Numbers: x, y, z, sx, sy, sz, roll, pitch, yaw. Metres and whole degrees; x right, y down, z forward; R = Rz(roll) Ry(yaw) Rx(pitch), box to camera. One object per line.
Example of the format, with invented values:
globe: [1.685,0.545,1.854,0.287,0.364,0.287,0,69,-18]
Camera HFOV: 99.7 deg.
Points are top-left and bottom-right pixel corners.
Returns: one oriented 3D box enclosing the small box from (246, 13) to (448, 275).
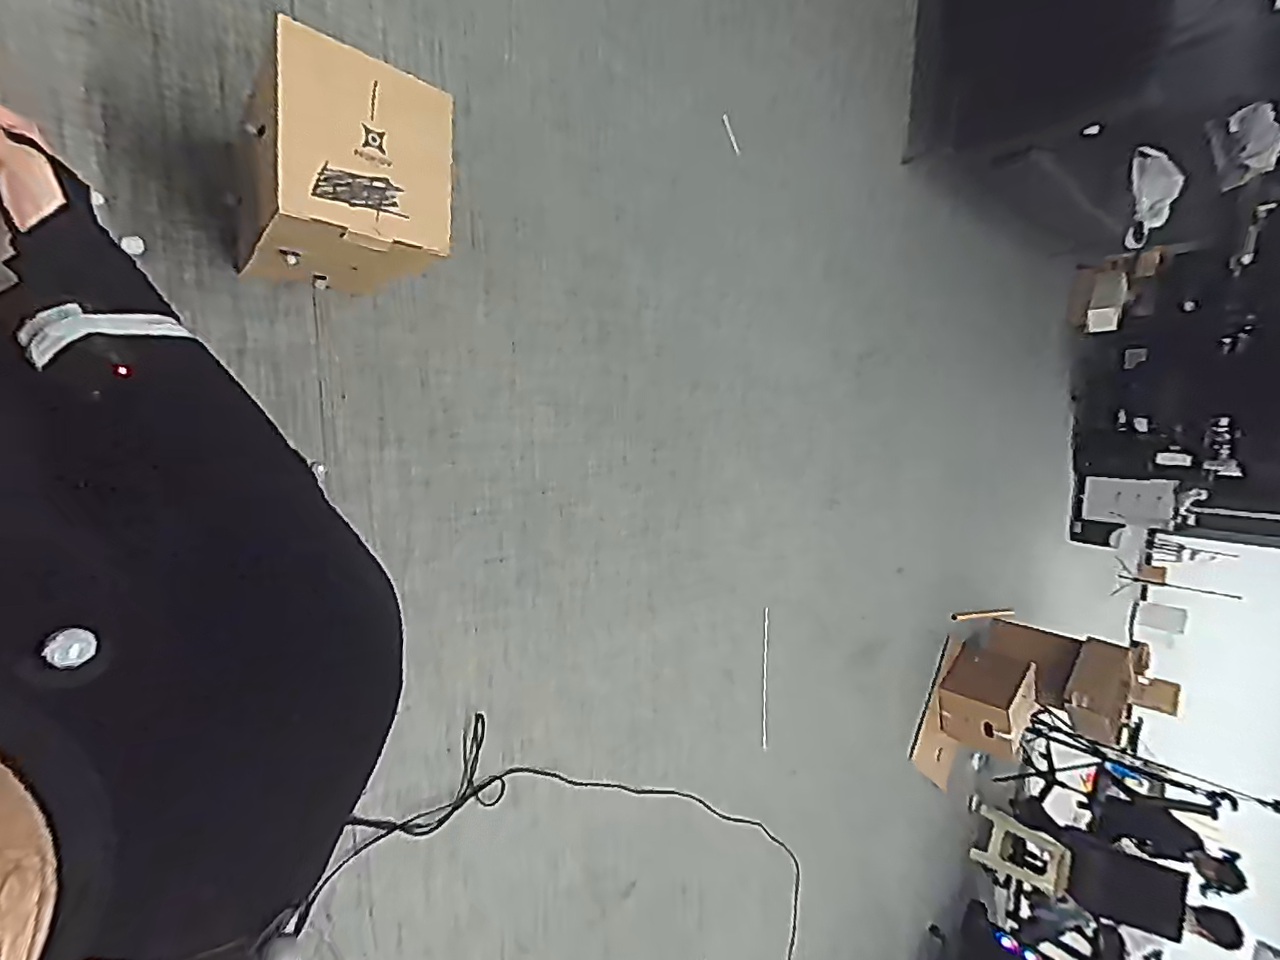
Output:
small box: [-0.330,-0.345,0.606,0.168,0.176,0.179,-2,96,-42]

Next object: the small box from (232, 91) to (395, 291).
small box: [-0.438,-0.365,0.728,0.168,0.176,0.179,-4,99,-42]
